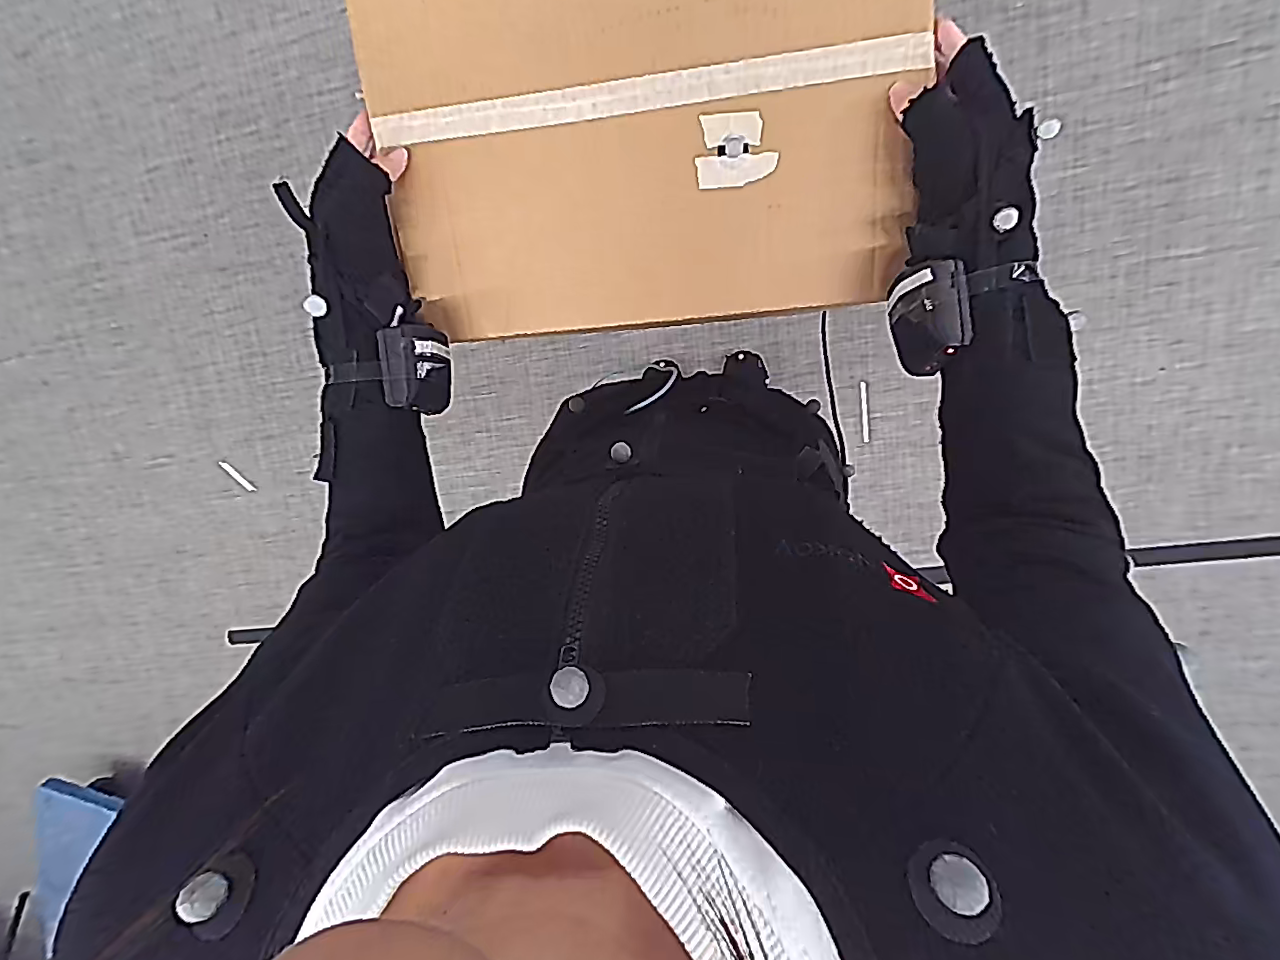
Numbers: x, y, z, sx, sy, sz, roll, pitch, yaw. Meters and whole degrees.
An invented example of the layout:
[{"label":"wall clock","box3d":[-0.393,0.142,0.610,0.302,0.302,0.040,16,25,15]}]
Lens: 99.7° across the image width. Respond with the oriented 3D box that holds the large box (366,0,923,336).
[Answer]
[{"label":"large box","box3d":[0.012,-0.326,0.545,0.408,0.320,0.320,-4,106,6]}]
